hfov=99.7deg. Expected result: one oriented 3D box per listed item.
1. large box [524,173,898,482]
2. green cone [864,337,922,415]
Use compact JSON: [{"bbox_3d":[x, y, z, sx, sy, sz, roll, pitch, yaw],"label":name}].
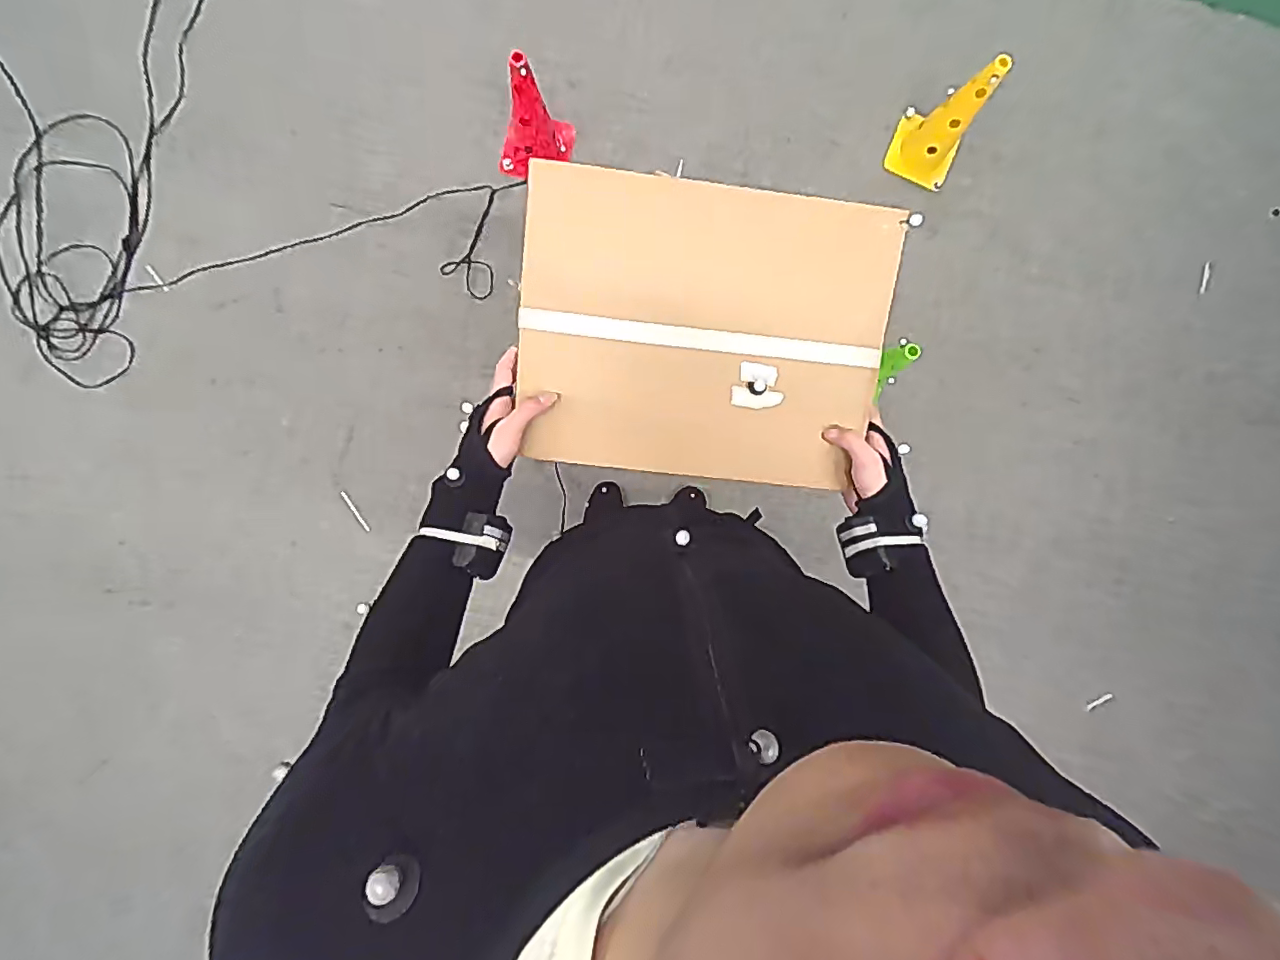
[{"bbox_3d":[0.065,-0.191,0.753,0.408,0.320,0.320,5,103,-4],"label":"large box"},{"bbox_3d":[0.669,-0.323,1.510,0.200,0.368,0.202,19,88,-3],"label":"green cone"}]
